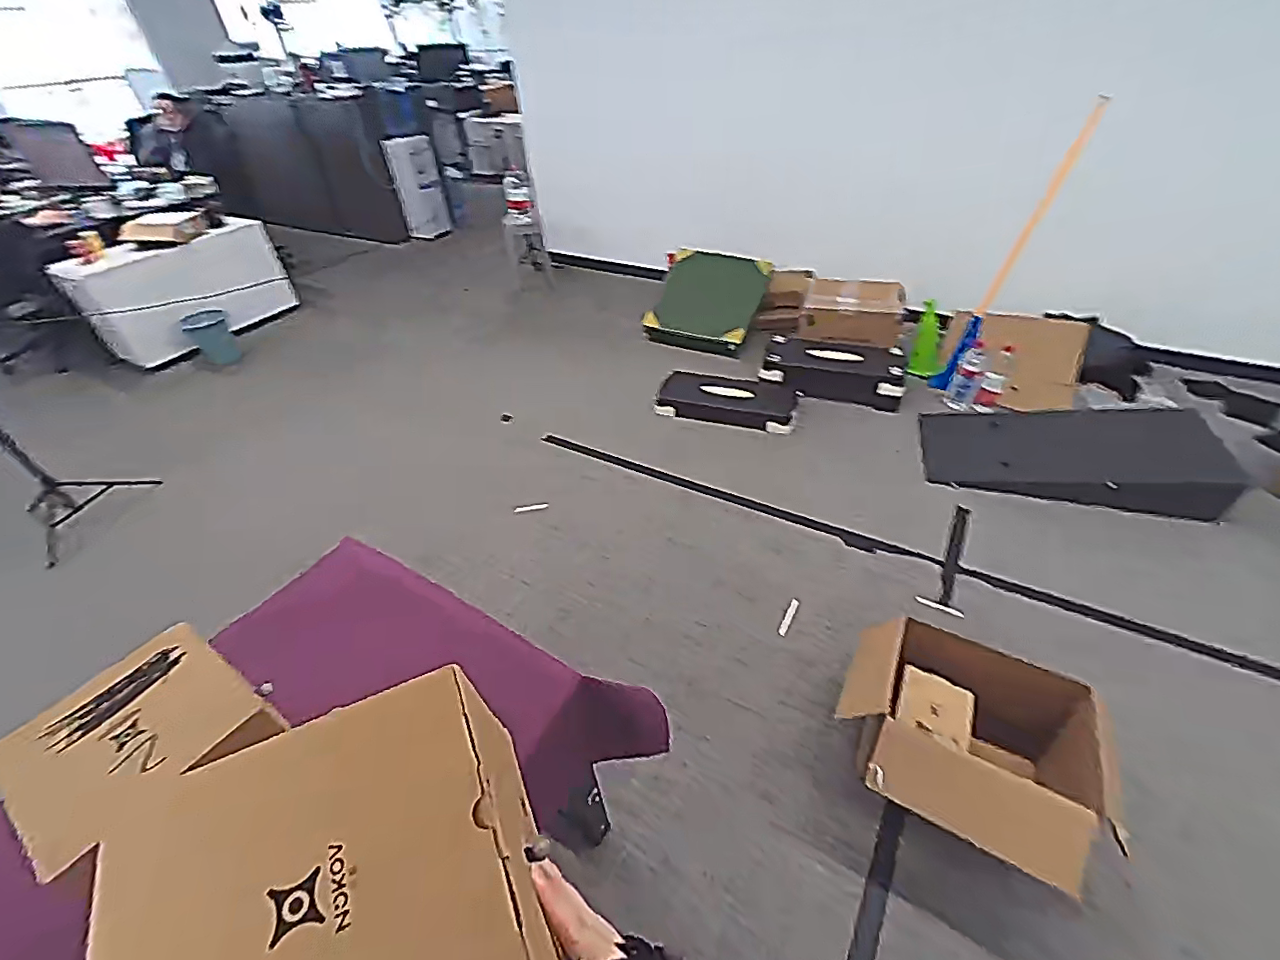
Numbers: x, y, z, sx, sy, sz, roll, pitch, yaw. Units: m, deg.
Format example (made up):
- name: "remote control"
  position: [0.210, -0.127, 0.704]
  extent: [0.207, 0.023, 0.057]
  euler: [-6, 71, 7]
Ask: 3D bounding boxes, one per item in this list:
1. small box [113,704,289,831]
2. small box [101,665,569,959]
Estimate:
- name: "small box"
  position: [-0.446, 0.412, 0.642]
  extent: [0.179, 0.176, 0.168]
  euler: [21, 47, 28]
- name: "small box"
  position: [-0.152, 0.243, 0.311]
  extent: [0.179, 0.176, 0.168]
  euler: [-19, 54, -16]
